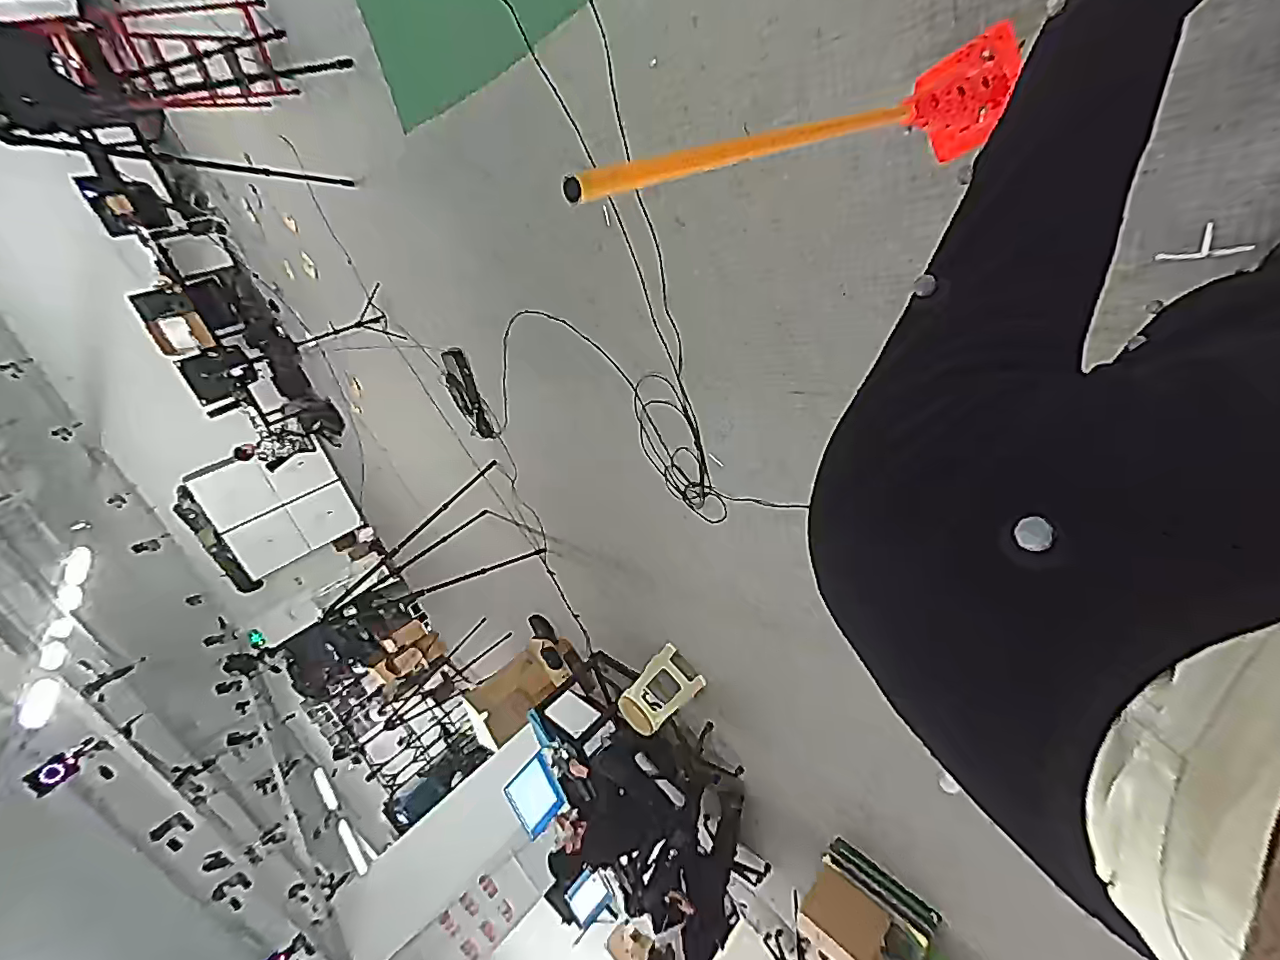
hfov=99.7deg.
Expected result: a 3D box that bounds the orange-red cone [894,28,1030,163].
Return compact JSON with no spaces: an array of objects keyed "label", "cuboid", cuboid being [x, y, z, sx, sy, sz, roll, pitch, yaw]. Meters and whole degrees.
[{"label":"orange-red cone","cuboid":[0.619,-0.765,1.112,0.199,0.360,0.198,-6,113,55]}]
